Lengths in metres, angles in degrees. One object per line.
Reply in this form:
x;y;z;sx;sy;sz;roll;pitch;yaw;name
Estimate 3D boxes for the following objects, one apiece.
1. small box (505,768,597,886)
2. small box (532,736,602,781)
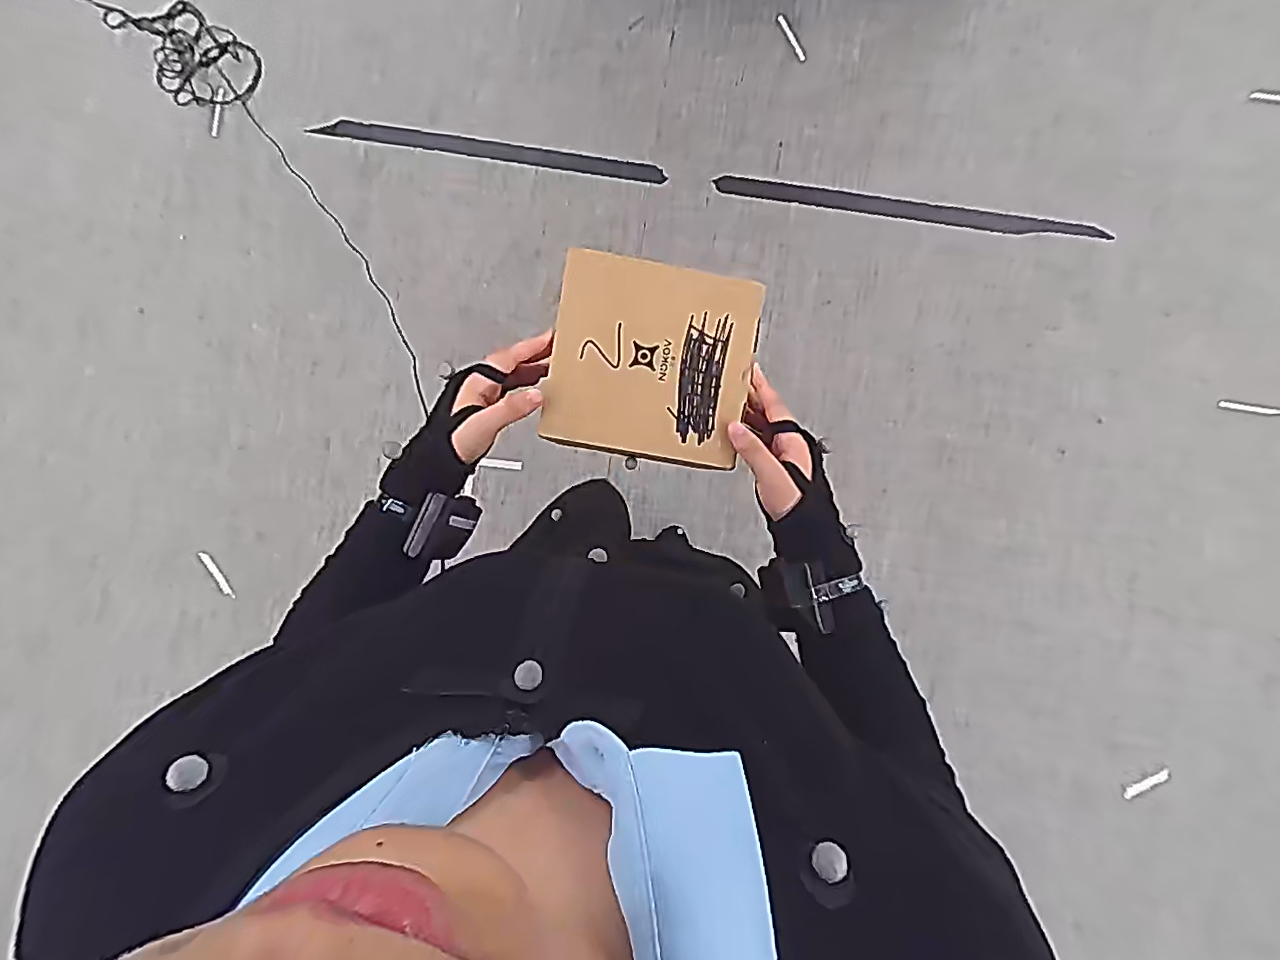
-0.201;0.793;1.253;0.179;0.176;0.168;3;90;2;small box
-0.200;0.802;1.416;0.168;0.176;0.179;12;91;3;small box
